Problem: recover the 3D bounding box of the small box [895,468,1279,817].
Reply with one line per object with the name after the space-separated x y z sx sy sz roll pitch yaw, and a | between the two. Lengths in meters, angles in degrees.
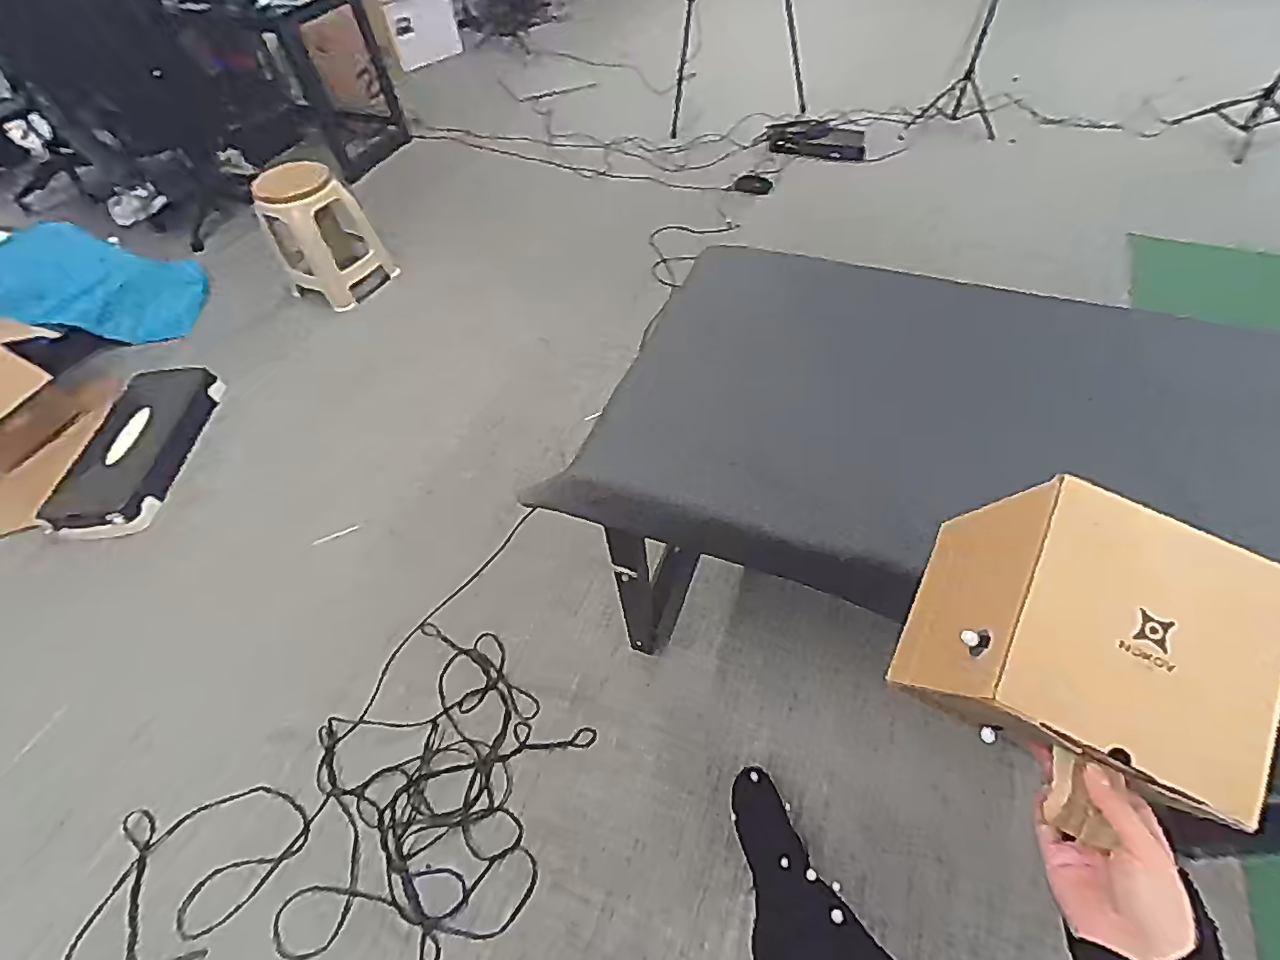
0.339 0.120 0.438 0.168 0.176 0.179 26 76 7 | small box
